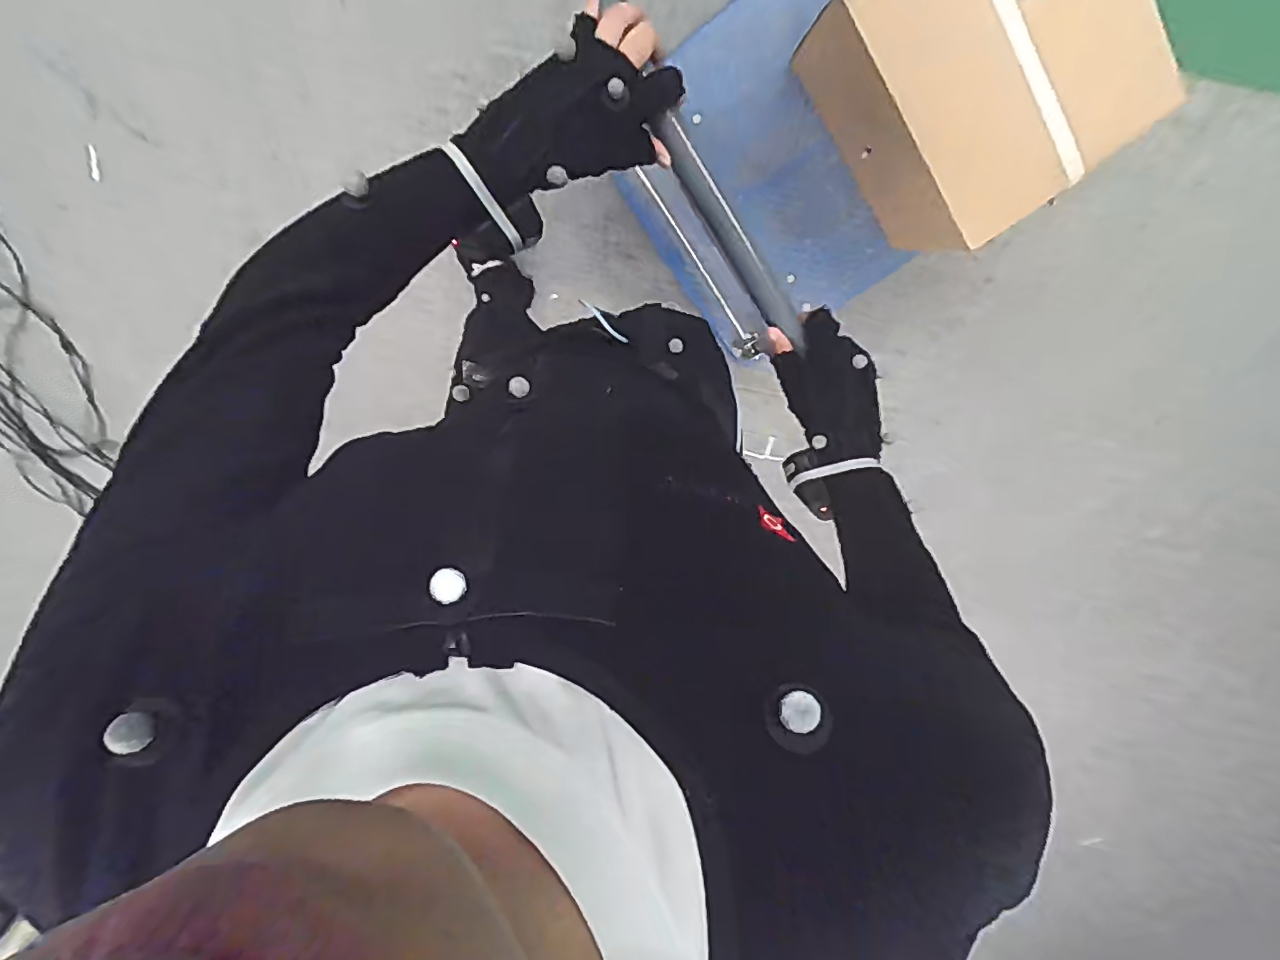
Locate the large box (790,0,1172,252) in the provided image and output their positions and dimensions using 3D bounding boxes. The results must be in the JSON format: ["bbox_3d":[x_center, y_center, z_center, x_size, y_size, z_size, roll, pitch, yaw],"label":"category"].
[{"bbox_3d":[0.499,-0.633,0.864,0.320,0.320,0.408,-35,107,16],"label":"large box"}]
